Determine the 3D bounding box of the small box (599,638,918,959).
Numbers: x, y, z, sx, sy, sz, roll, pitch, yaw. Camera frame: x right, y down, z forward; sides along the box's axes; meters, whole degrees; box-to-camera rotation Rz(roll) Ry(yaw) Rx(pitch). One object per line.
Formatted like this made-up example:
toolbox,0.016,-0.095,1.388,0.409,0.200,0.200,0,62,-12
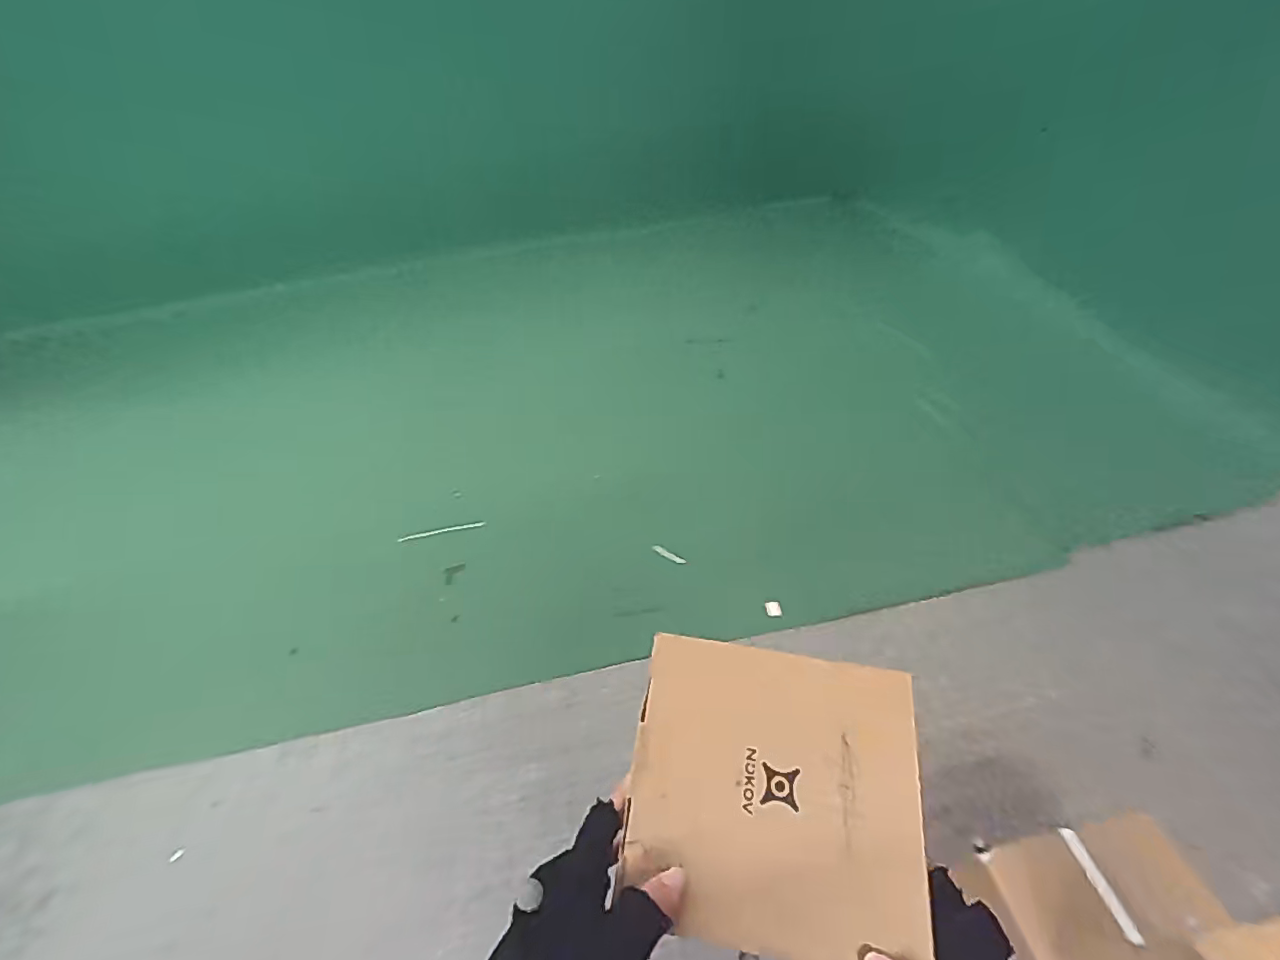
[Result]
small box,0.077,0.229,0.402,0.179,0.176,0.168,5,60,6

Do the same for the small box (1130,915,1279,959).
small box,0.691,0.578,0.567,0.168,0.176,0.179,-10,44,0
